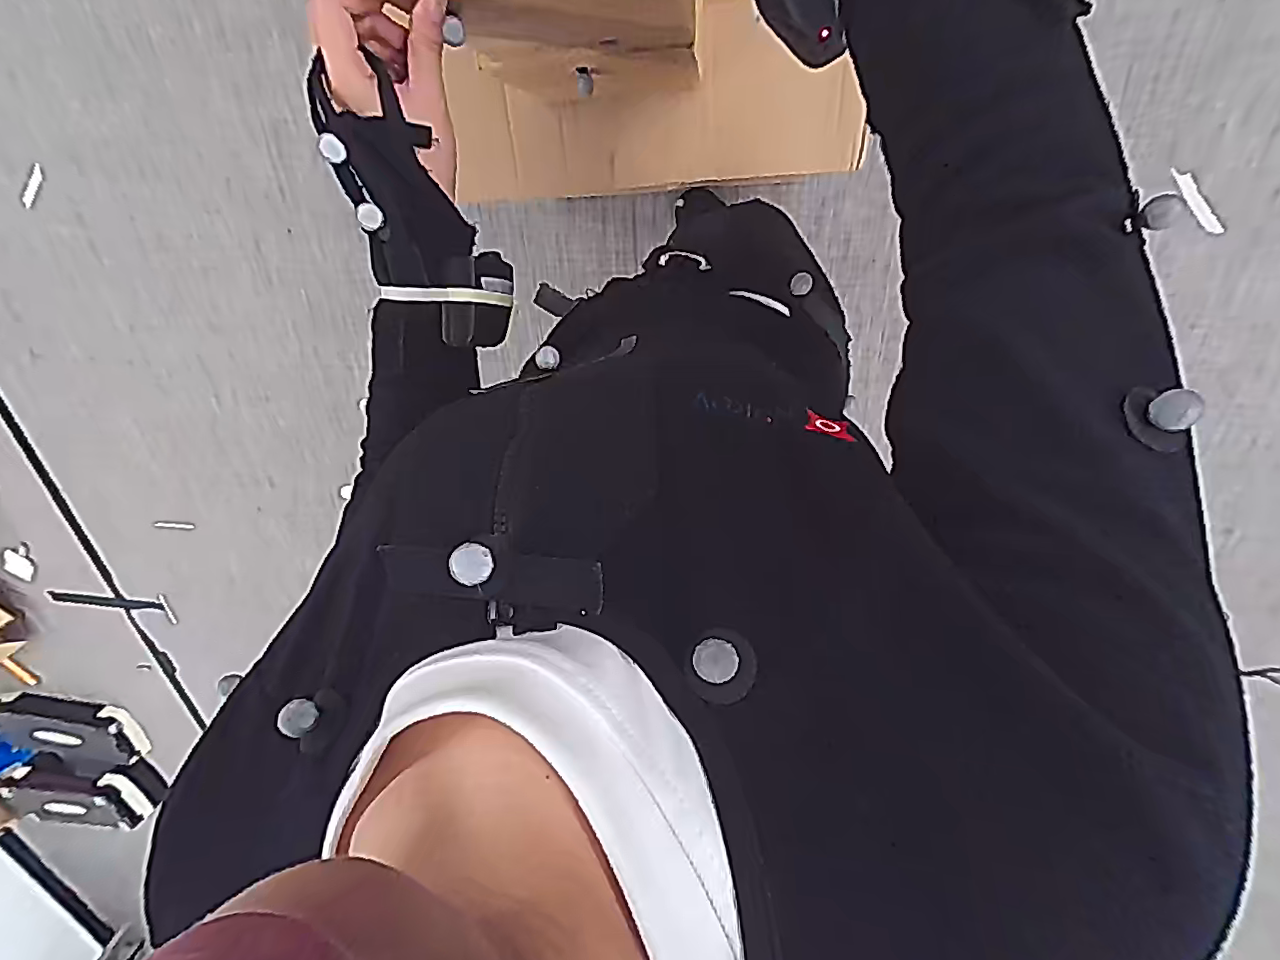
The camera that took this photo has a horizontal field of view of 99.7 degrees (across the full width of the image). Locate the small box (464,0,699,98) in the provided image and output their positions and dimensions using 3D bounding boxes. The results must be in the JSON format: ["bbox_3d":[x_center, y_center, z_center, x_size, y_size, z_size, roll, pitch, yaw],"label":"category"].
[{"bbox_3d":[-0.040,-0.435,0.451,0.179,0.176,0.168,1,118,9],"label":"small box"}]
